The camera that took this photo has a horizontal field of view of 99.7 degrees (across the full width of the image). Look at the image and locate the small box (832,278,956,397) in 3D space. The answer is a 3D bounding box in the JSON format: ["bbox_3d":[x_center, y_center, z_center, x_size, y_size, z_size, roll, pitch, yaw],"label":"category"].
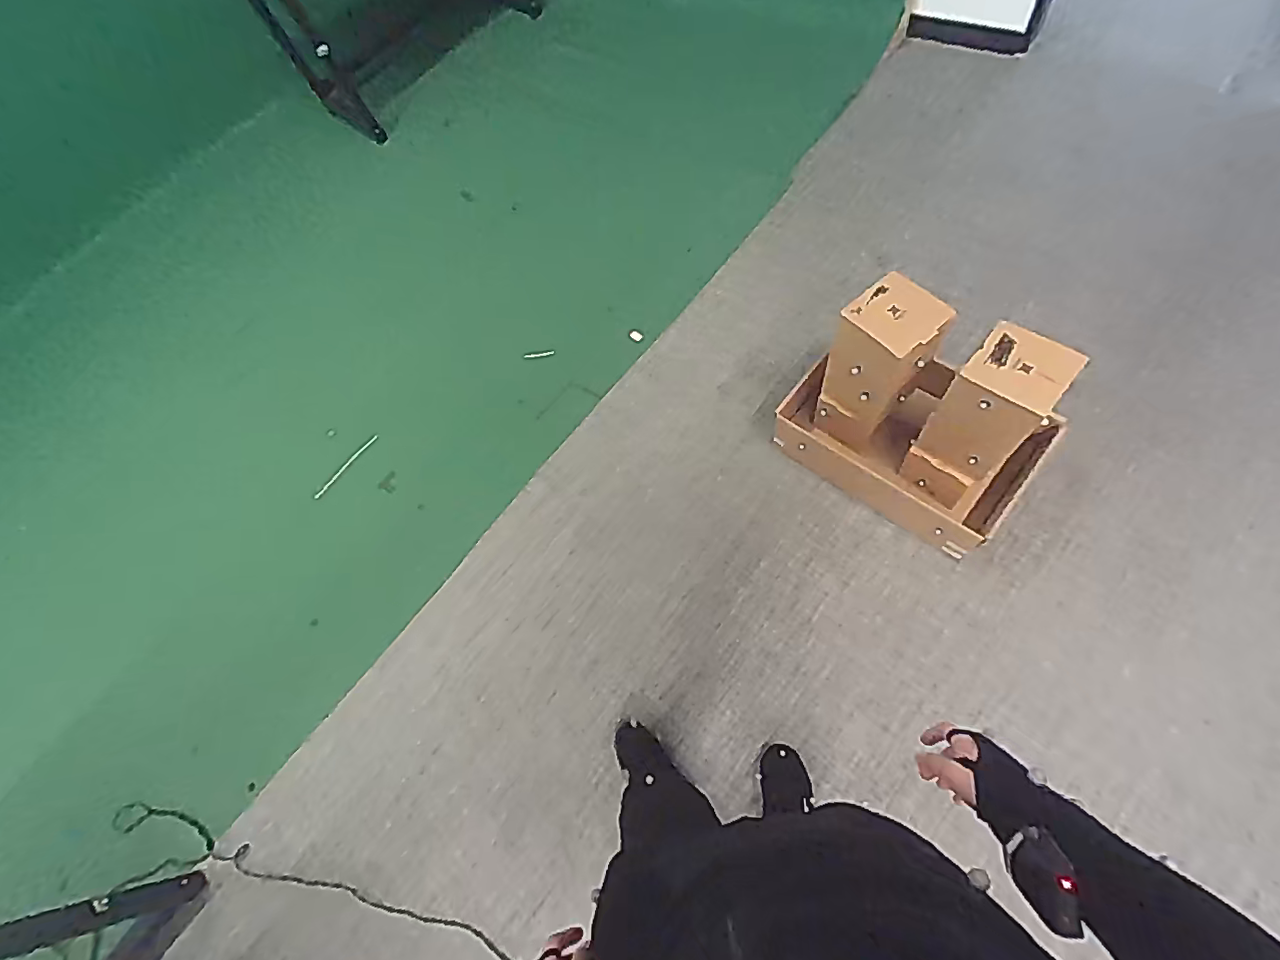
[{"bbox_3d":[0.571,-0.316,1.242,0.168,0.176,0.179,-38,66,-6],"label":"small box"}]

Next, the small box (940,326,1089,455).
[{"bbox_3d":[0.772,-0.182,1.138,0.179,0.176,0.168,37,79,25],"label":"small box"}]
